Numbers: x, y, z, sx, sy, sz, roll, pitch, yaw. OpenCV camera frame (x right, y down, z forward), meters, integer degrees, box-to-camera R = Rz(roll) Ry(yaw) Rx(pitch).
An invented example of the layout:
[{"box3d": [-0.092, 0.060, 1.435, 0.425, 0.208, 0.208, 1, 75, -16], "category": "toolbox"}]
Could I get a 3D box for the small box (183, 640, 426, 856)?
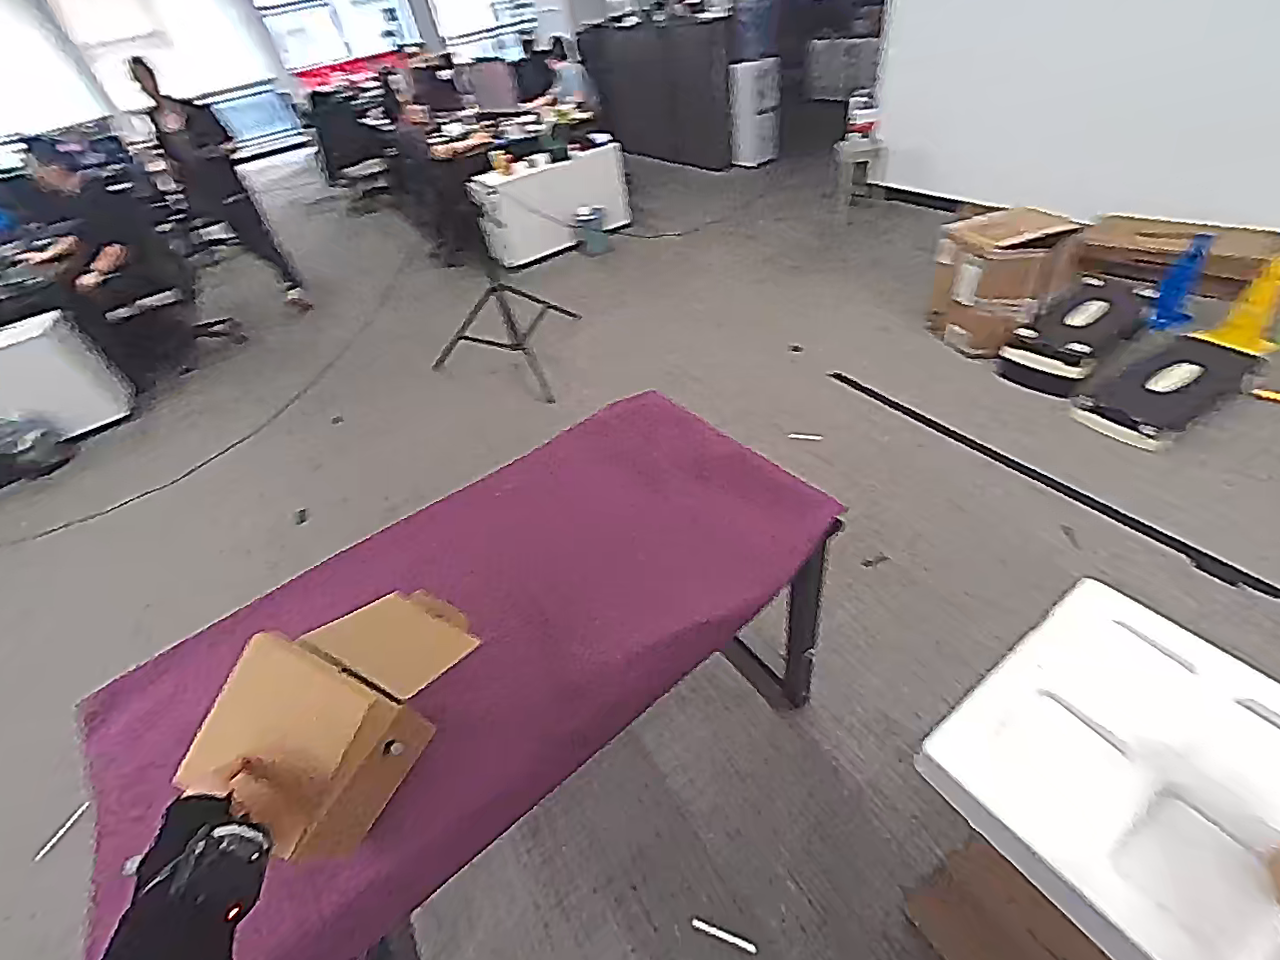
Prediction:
[{"box3d": [-0.396, 0.338, 0.682, 0.168, 0.176, 0.179, 23, 56, 12], "category": "small box"}]
